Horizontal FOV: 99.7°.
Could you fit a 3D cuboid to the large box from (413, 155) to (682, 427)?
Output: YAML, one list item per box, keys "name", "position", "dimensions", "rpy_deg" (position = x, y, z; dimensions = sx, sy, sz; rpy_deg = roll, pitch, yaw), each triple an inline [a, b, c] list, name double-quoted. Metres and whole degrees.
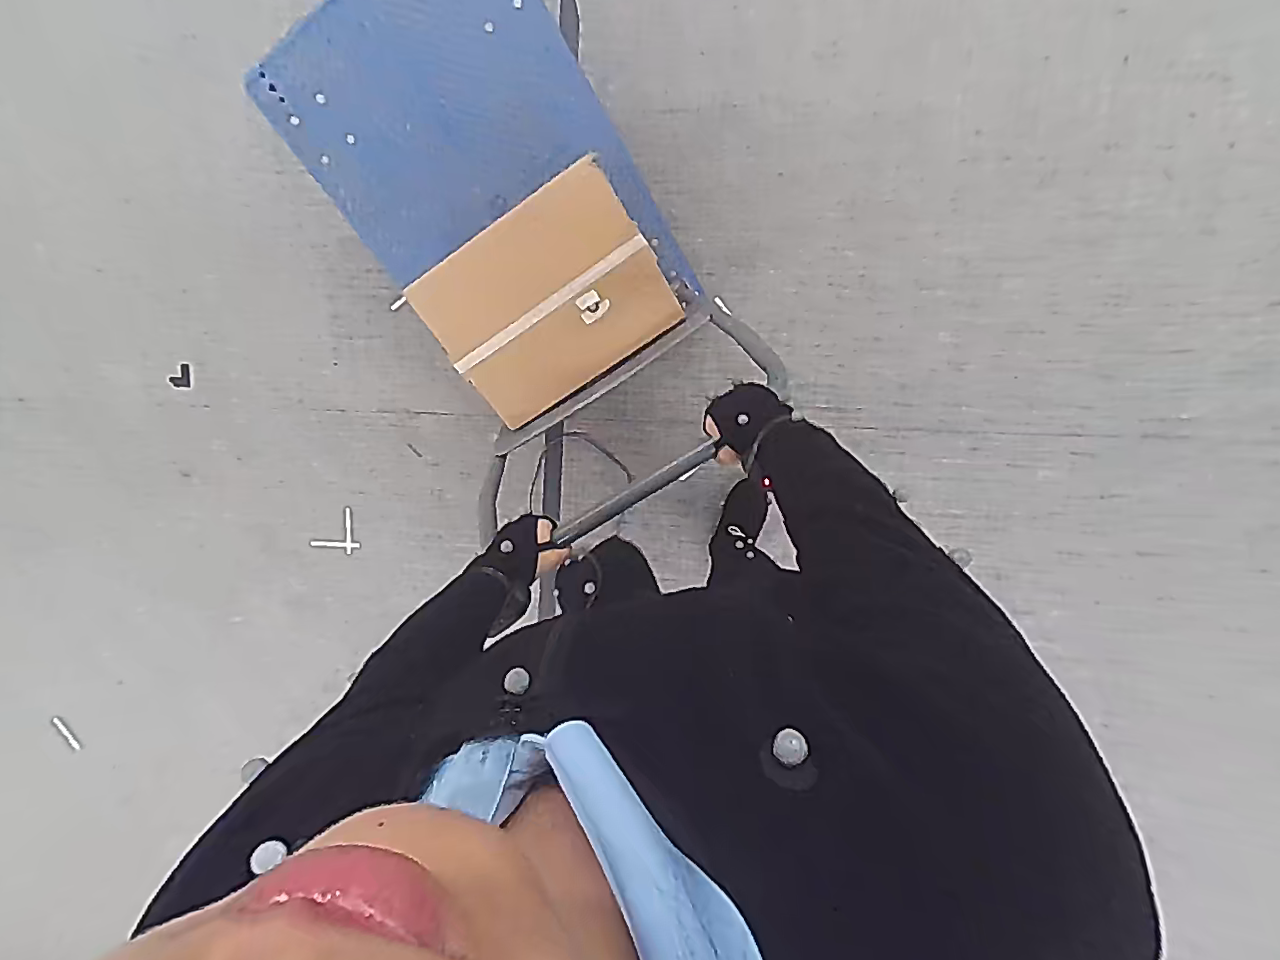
- name: "large box"
  position: [-0.178, -0.379, 1.123]
  dimensions: [0.408, 0.320, 0.320]
  rpy_deg: [-34, 113, 8]
